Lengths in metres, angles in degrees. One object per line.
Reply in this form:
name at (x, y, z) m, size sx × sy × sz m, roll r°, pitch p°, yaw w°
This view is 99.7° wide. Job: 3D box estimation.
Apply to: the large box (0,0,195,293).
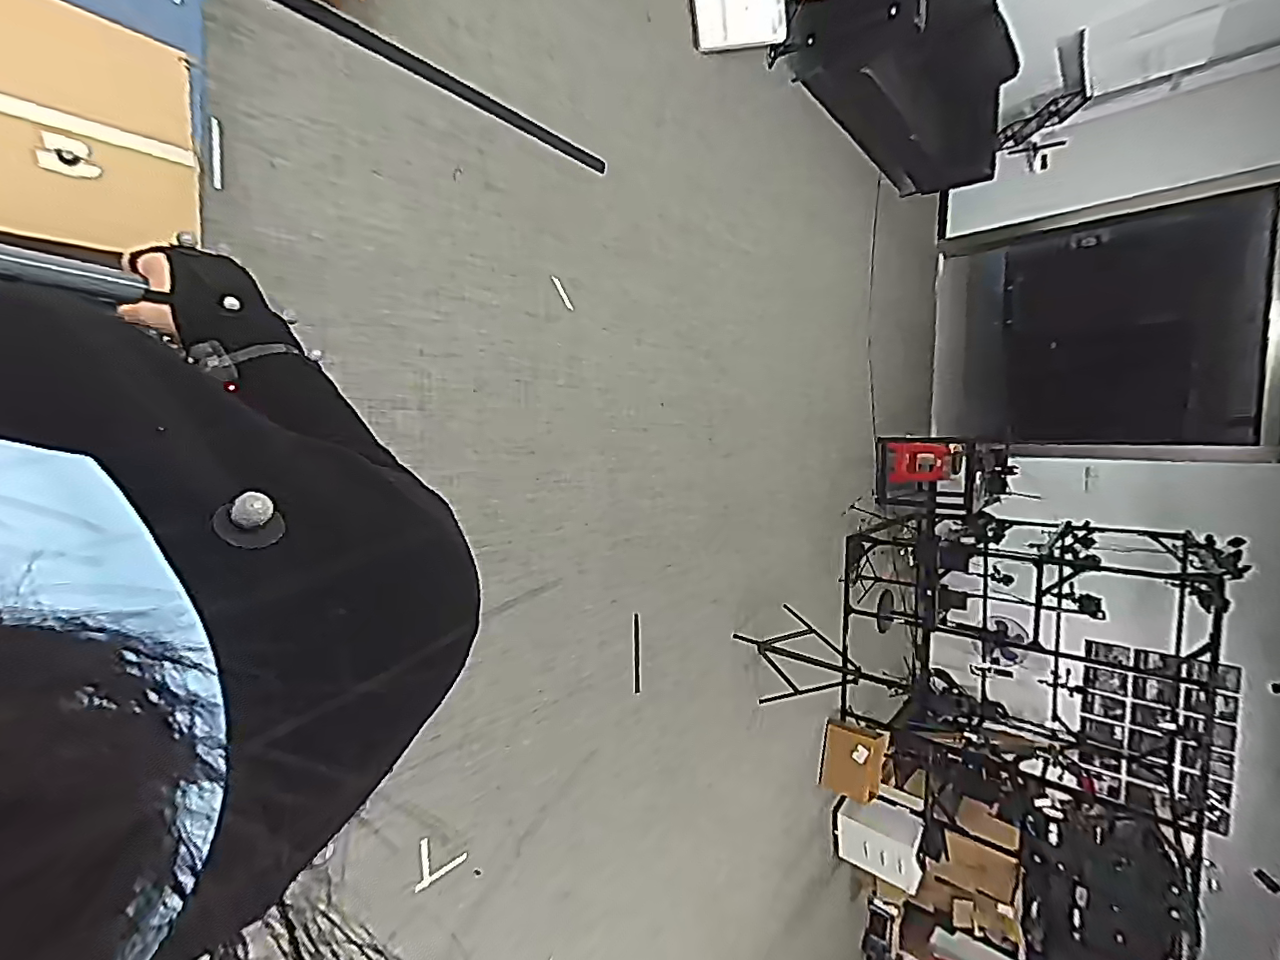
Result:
large box at (-0.927, -0.479, 0.758) m, size 0.408 × 0.320 × 0.320 m, roll -6°, pitch 98°, yaw -51°
